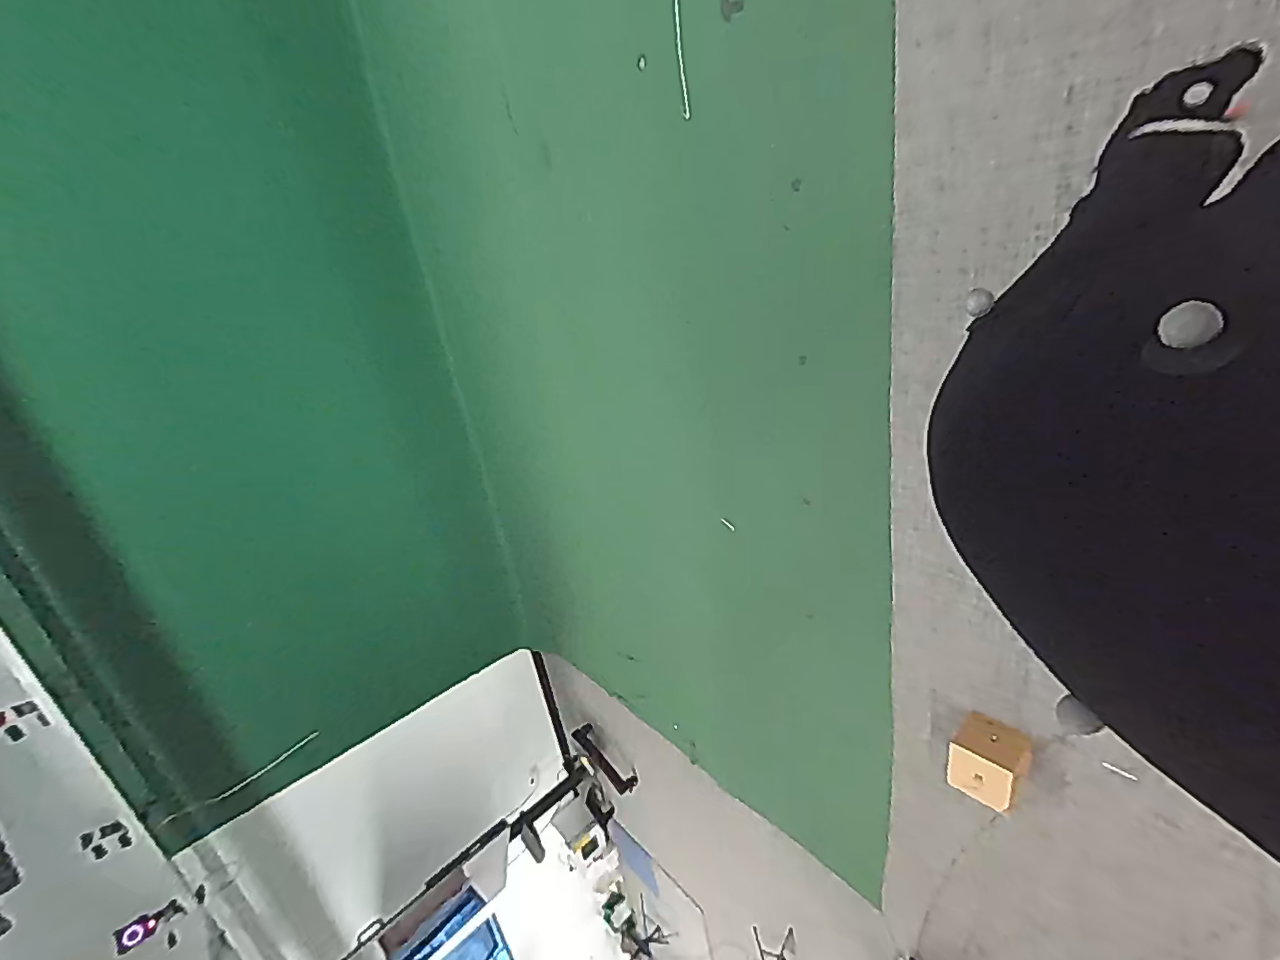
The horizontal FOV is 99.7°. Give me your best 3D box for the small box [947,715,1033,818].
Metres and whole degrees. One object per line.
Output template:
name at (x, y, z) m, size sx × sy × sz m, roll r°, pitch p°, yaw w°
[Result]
small box at (1.048, 0.846, 1.617) m, size 0.168 × 0.176 × 0.179 m, roll 17°, pitch 123°, yaw 49°
